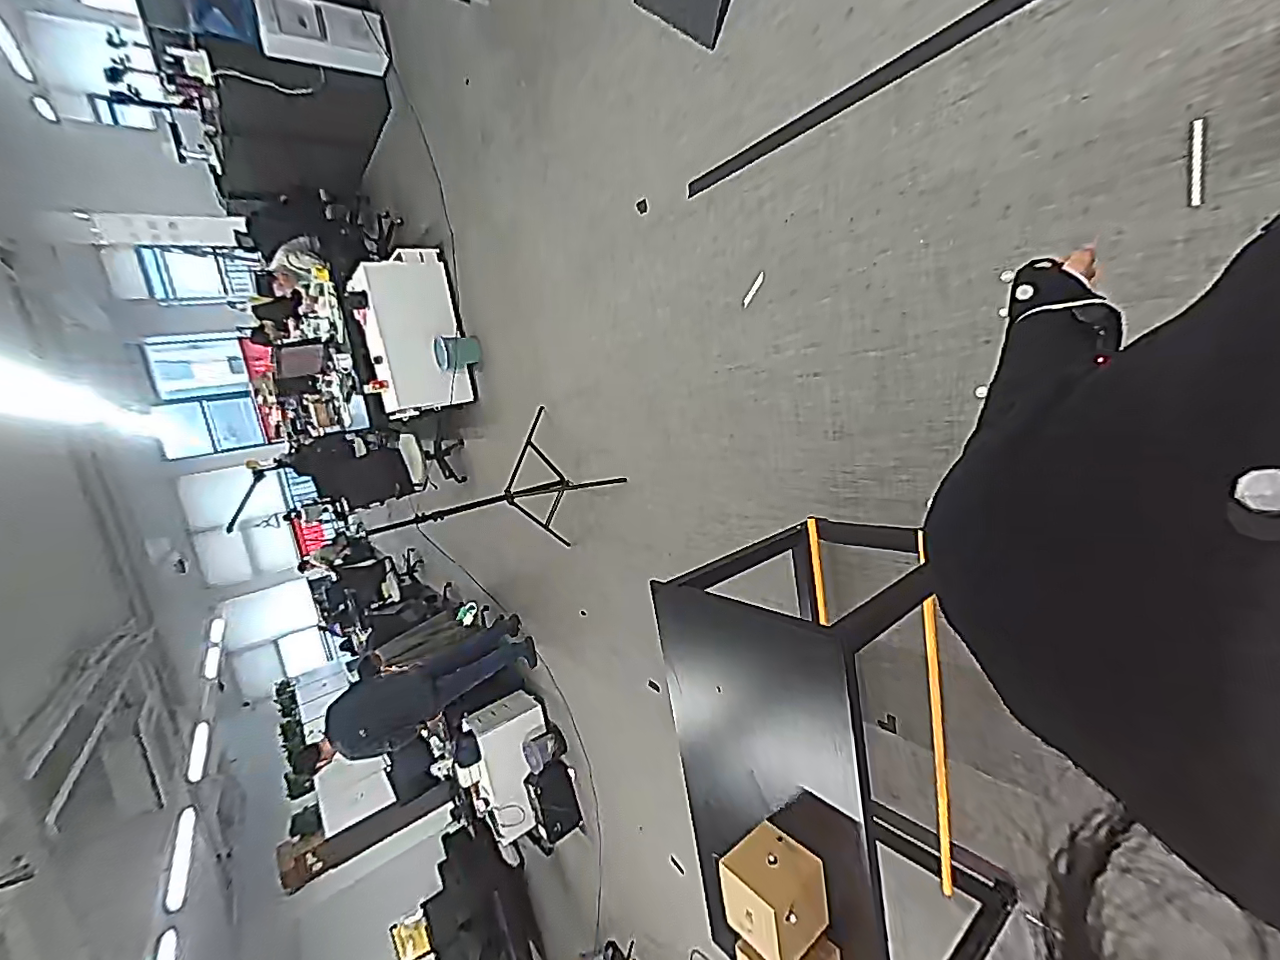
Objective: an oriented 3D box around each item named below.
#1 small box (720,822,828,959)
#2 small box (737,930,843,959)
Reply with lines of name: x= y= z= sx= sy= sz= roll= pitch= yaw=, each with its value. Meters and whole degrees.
small box: x=0.309 y=0.940 z=1.240 sx=0.168 sy=0.176 sz=0.179 roll=6 pitch=109 yaw=54
small box: x=0.356 y=1.153 z=1.268 sx=0.179 sy=0.176 sz=0.168 roll=3 pitch=108 yaw=53
